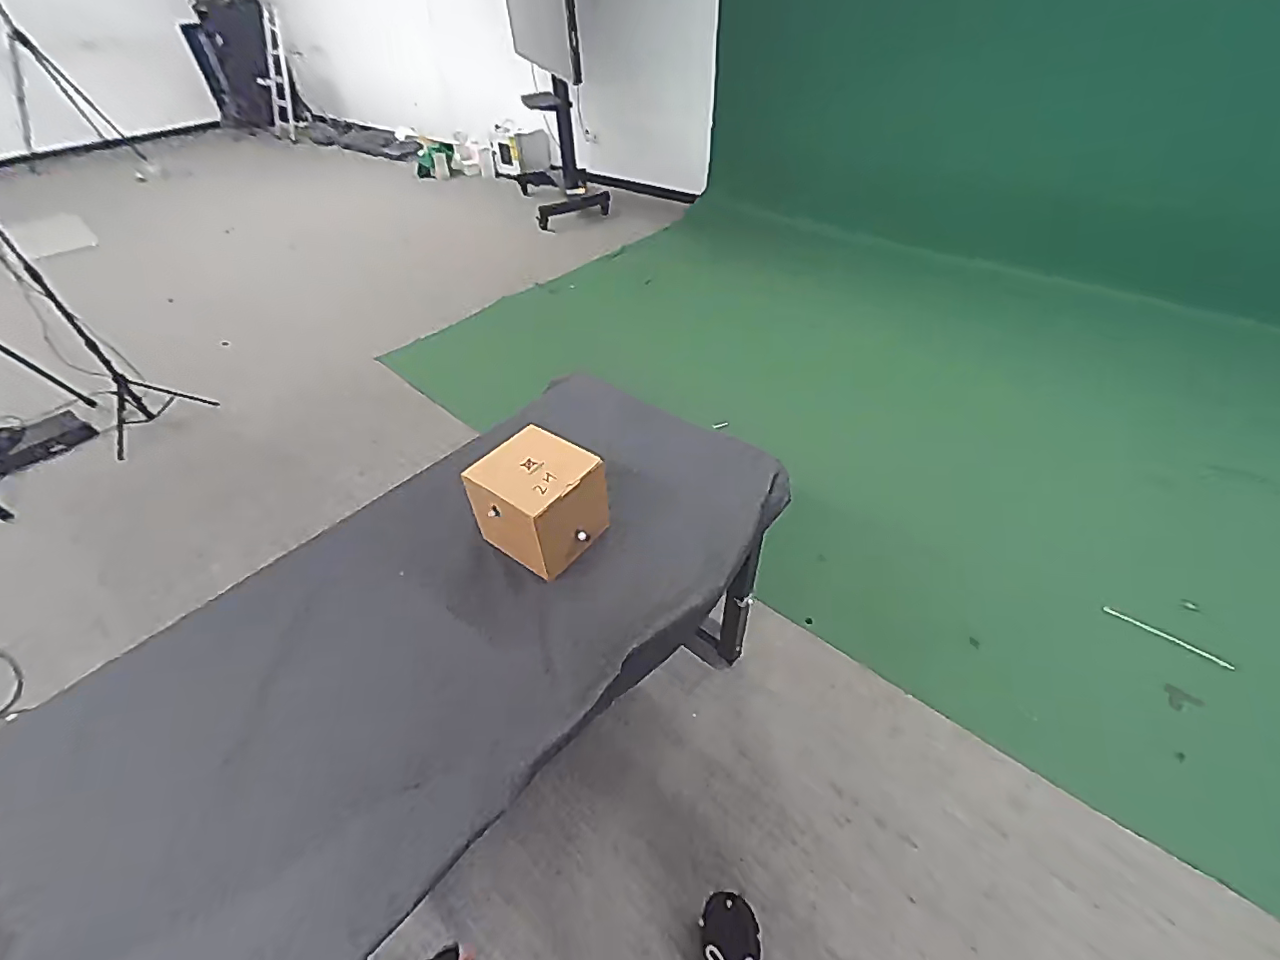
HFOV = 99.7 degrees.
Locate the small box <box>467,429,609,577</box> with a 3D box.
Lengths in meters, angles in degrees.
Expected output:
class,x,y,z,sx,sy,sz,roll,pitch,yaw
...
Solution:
class,x,y,z,sx,sy,sz,roll,pitch,yaw
small box,-0.174,0.042,0.964,0.179,0.176,0.168,27,52,27
